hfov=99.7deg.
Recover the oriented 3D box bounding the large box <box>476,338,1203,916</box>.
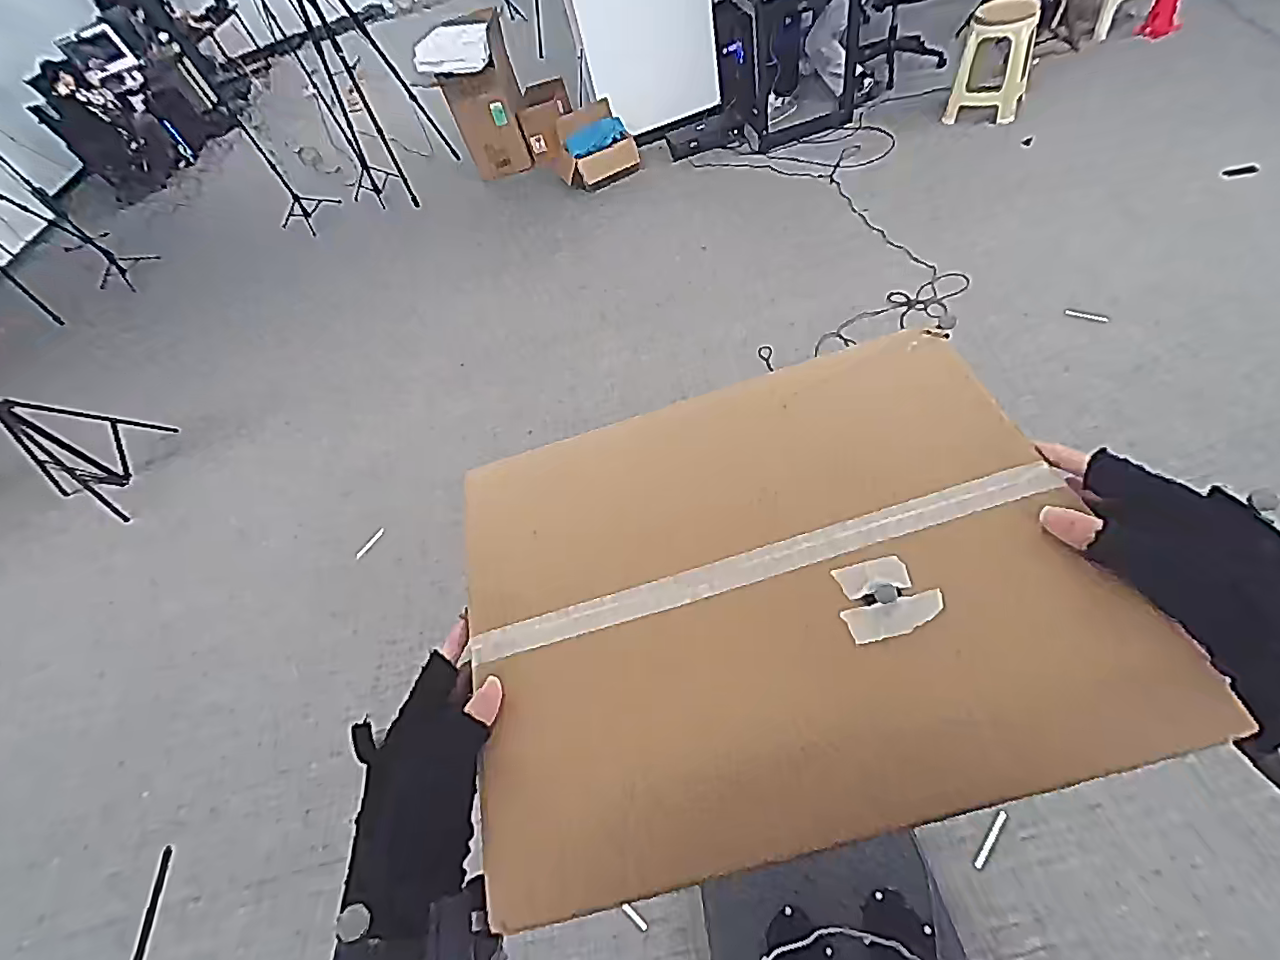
[{"bbox_3d":[0.109,0.139,0.501,0.408,0.320,0.320,-18,57,3],"label":"large box"}]
